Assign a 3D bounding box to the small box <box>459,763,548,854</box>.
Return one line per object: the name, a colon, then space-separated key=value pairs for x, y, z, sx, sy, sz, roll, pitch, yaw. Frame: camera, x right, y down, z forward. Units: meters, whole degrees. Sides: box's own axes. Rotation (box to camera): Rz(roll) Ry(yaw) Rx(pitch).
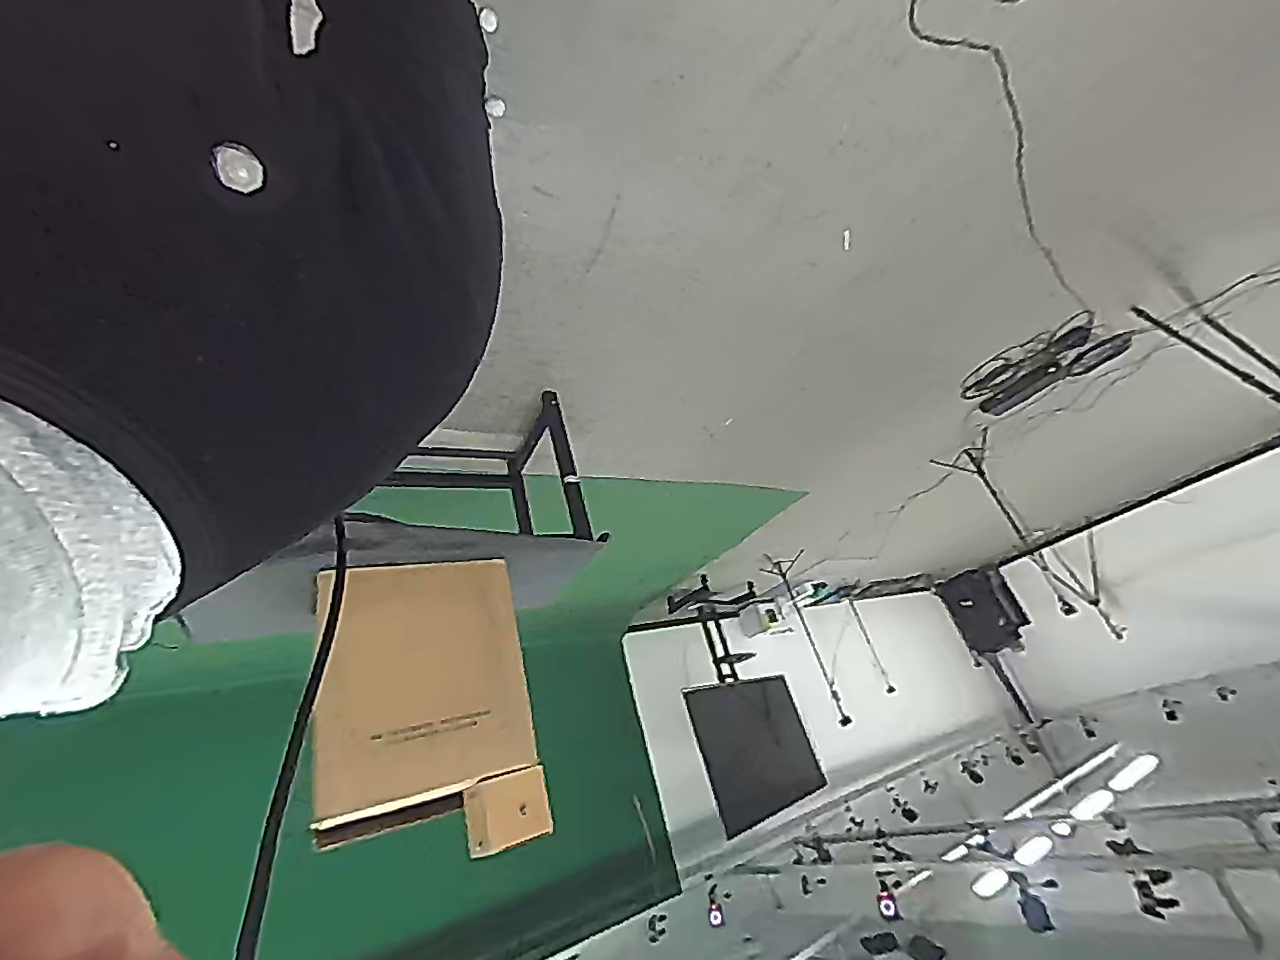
small box: x=-0.383 y=0.906 z=1.499 sx=0.179 sy=0.176 sz=0.168 roll=2 pitch=147 yaw=-37
